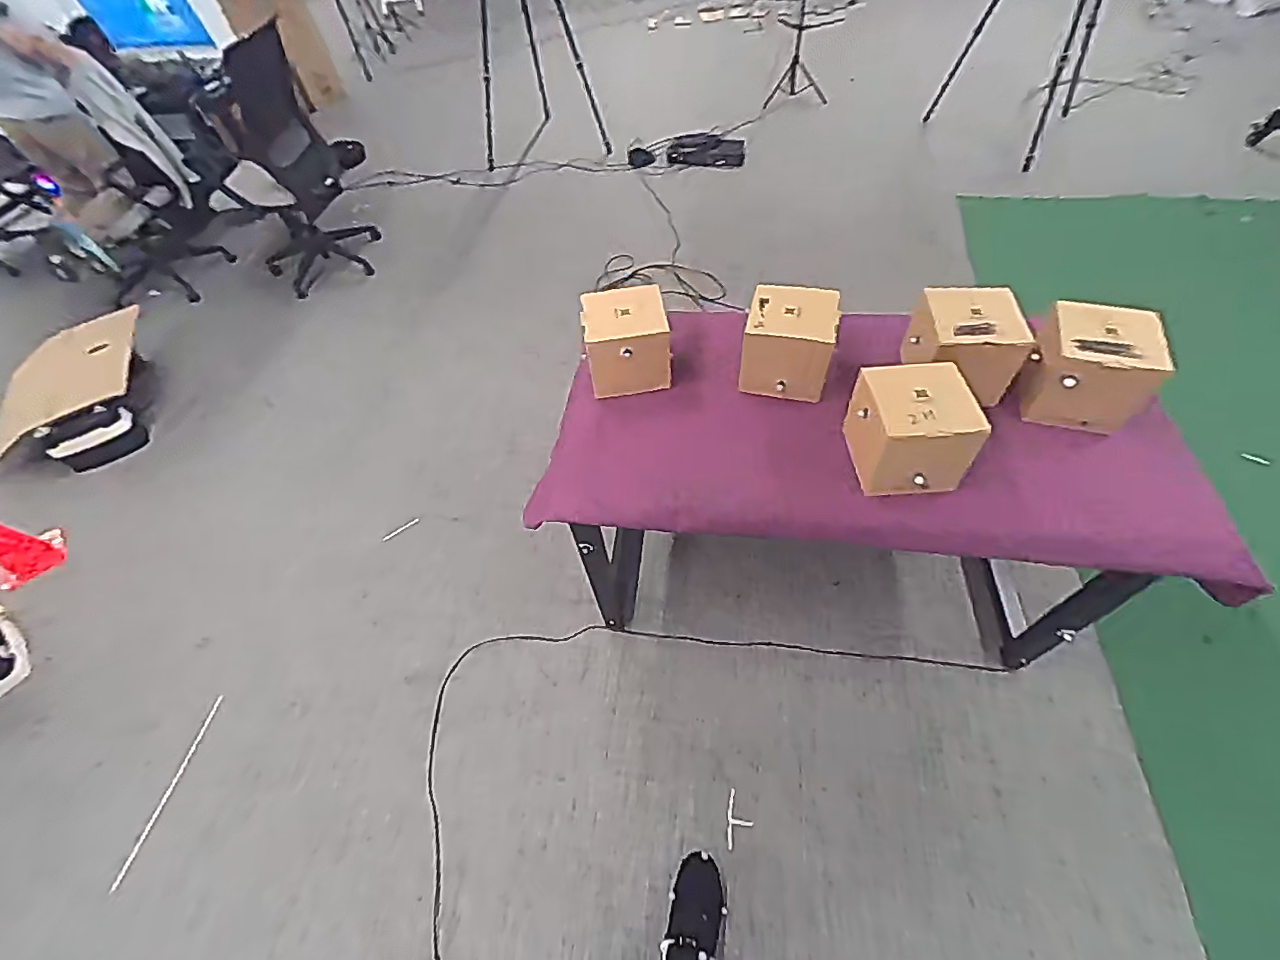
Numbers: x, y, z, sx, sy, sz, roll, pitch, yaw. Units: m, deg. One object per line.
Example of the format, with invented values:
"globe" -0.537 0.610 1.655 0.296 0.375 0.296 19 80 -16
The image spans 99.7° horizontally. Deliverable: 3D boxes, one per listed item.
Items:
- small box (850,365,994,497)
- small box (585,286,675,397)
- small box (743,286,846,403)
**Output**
"small box" 0.499 -0.087 0.992 0.168 0.176 0.179 -3 52 4
"small box" -0.020 -0.303 1.207 0.179 0.176 0.168 -7 54 0
"small box" 0.327 -0.287 1.160 0.179 0.176 0.168 11 56 13
